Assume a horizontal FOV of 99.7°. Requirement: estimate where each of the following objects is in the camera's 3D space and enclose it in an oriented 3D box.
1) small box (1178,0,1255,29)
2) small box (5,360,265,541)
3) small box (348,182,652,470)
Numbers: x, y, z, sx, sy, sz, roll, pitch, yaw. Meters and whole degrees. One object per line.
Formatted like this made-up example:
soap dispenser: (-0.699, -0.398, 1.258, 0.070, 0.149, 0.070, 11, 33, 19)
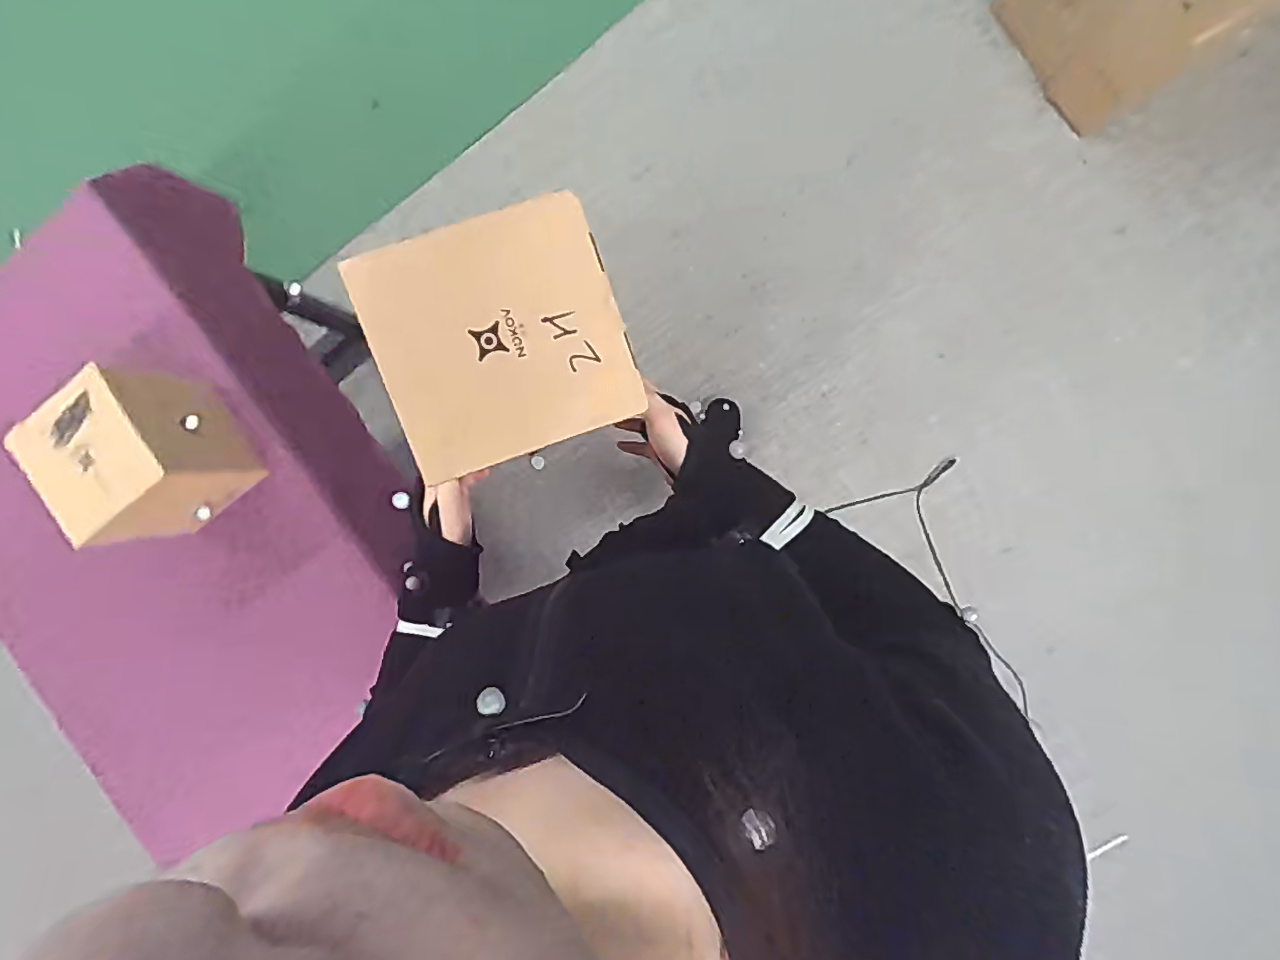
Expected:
small box: (1.094, -0.964, 0.954, 0.179, 0.176, 0.168, -28, 90, 4)
small box: (-0.691, -0.038, 0.760, 0.168, 0.176, 0.179, -35, 89, 7)
small box: (-0.103, -0.115, 0.461, 0.179, 0.176, 0.168, -18, 98, -4)
